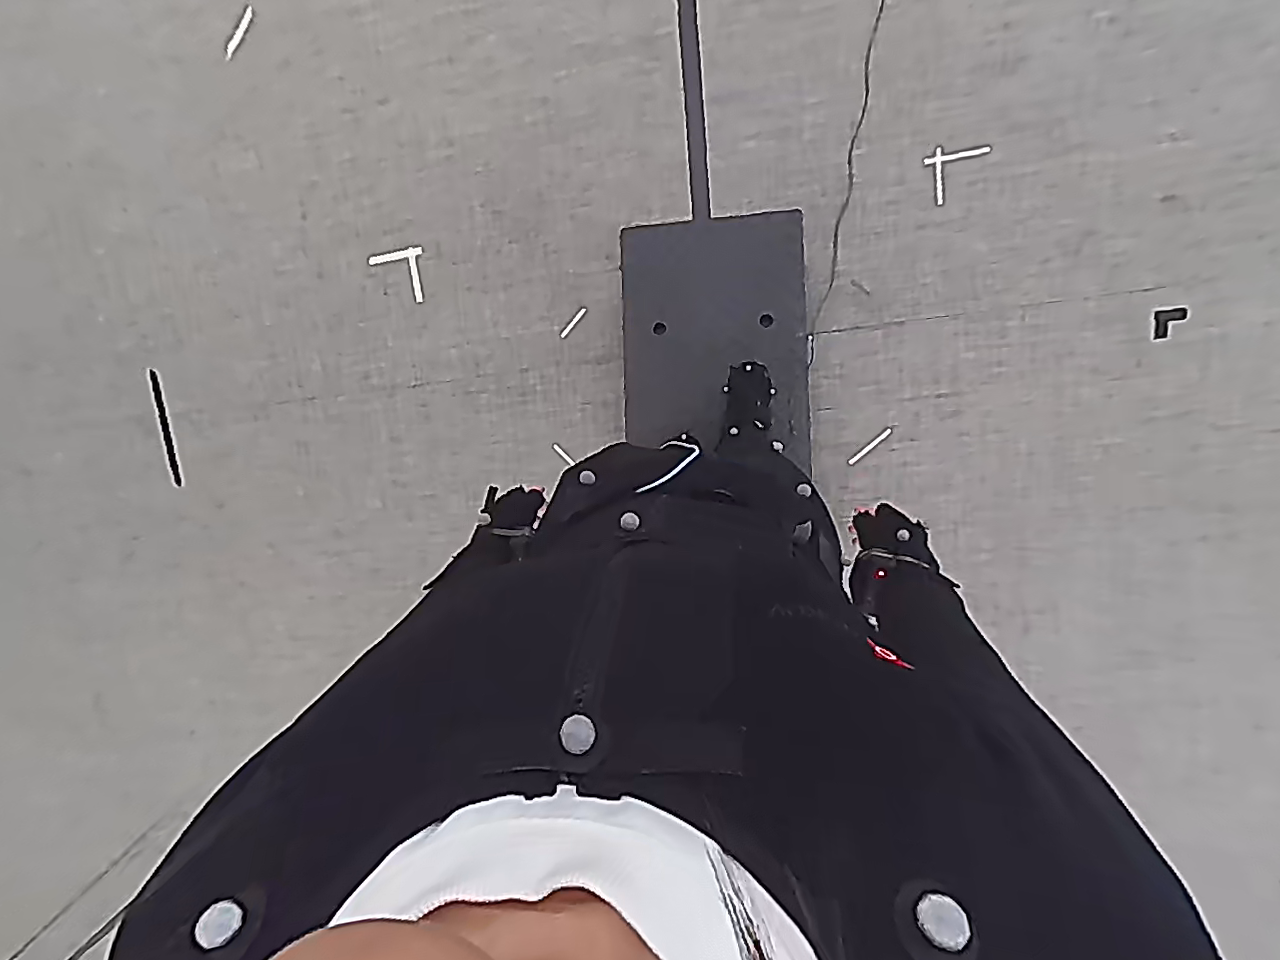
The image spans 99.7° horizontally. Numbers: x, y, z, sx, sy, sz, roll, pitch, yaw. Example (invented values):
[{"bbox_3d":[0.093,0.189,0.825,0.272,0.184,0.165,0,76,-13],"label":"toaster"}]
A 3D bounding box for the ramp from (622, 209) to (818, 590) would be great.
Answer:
[{"bbox_3d":[0.200,-0.209,1.446,0.509,0.206,0.991,-4,97,11],"label":"ramp"}]
